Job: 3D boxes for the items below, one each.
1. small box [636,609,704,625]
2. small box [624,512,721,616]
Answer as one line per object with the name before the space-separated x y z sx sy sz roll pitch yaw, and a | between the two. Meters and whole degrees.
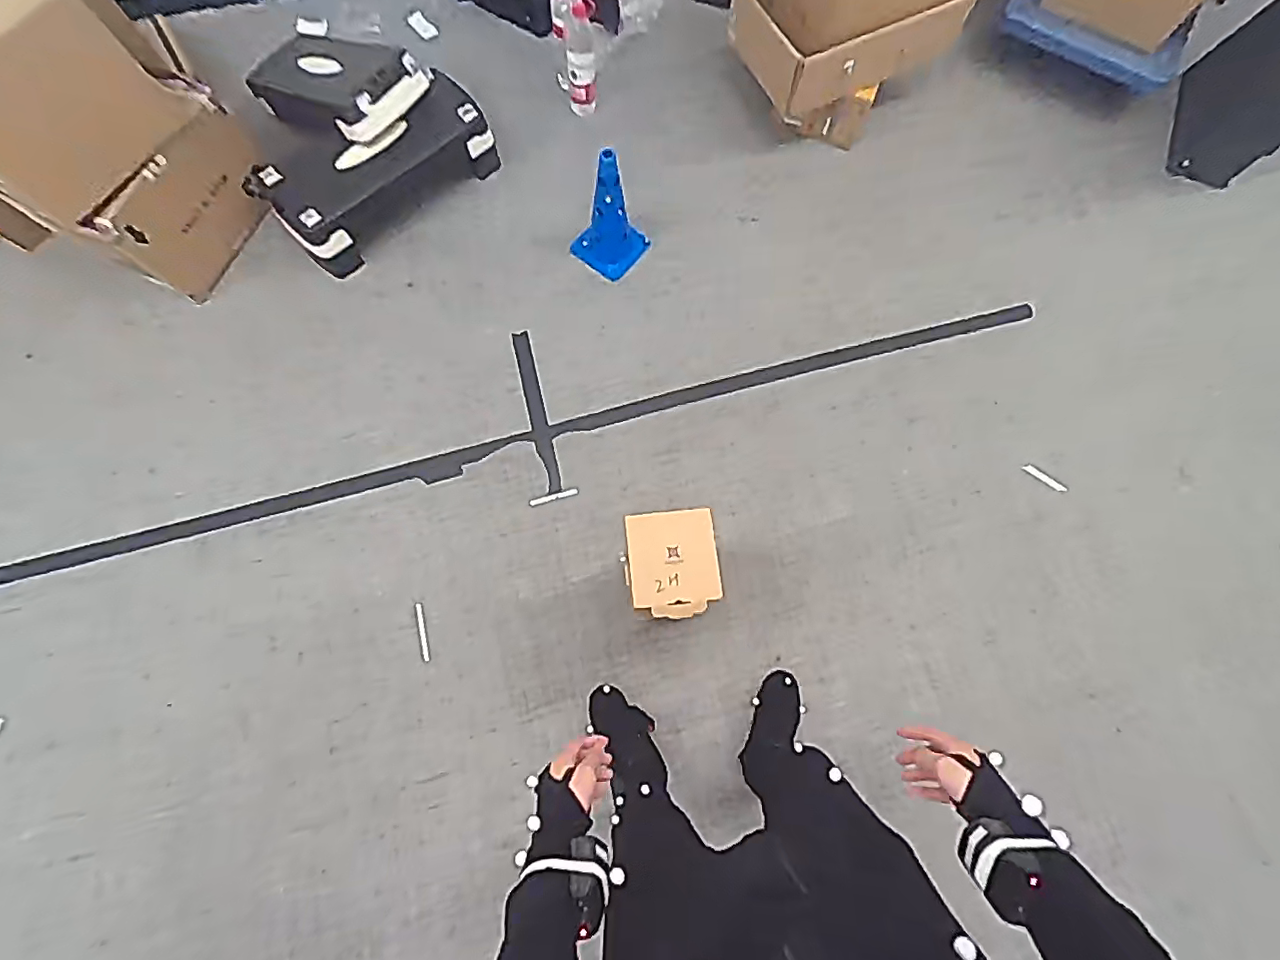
small box | 0.061 0.271 1.395 0.168 0.176 0.179 -11 75 -5
small box | 0.056 0.172 1.080 0.168 0.176 0.179 -5 75 -3
